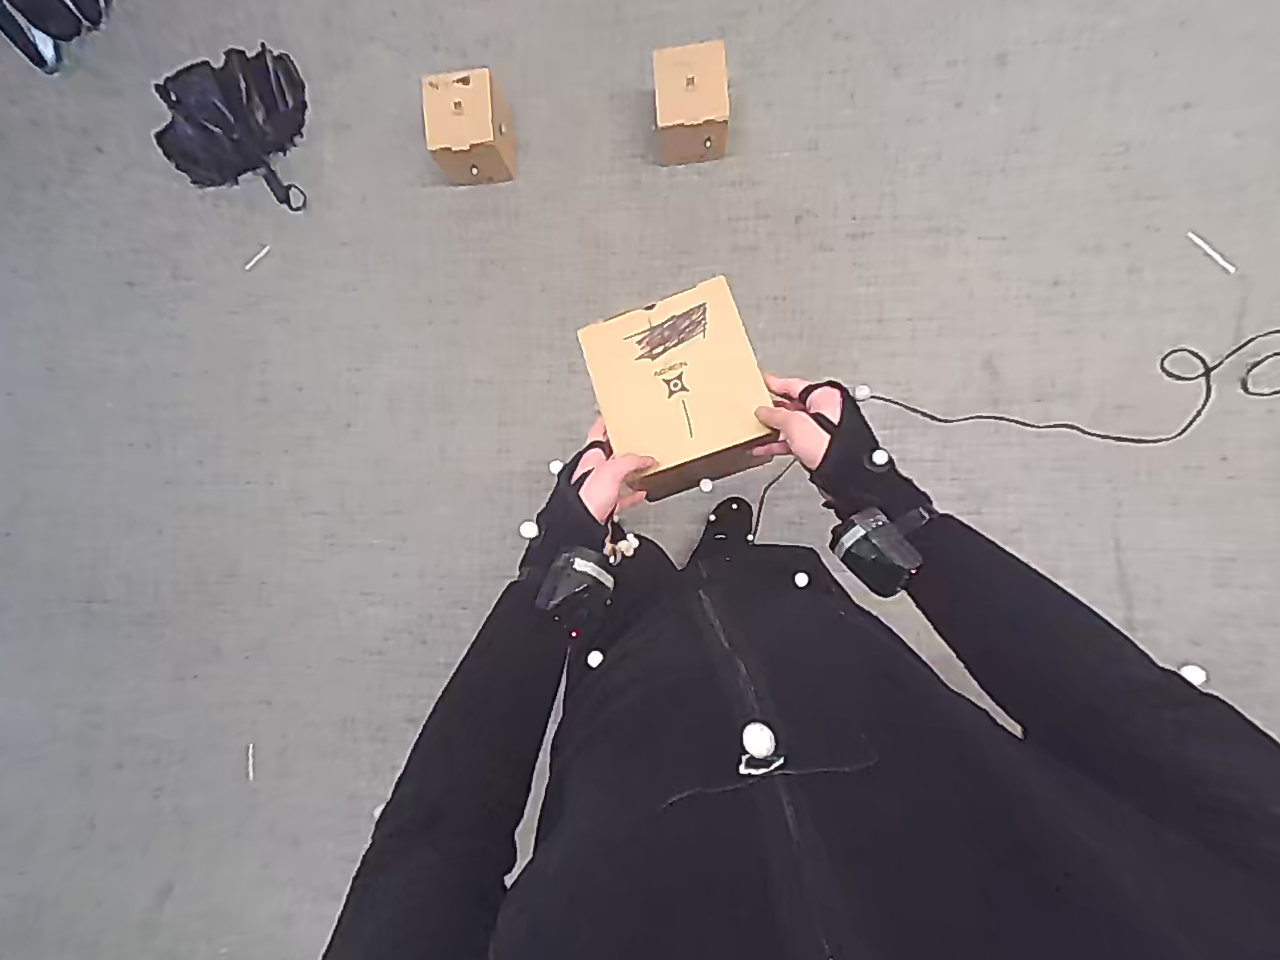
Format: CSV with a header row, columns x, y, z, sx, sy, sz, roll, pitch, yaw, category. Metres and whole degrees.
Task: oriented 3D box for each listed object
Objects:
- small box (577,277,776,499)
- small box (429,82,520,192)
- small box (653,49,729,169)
x,y,z,sx,sy,sz,roll,pitch,yaw,category
0.046,-0.091,0.621,0.168,0.176,0.179,-19,77,8,small box
-0.412,-0.856,1.371,0.168,0.176,0.179,-4,91,6,small box
0.125,-0.883,1.309,0.168,0.176,0.179,-5,89,5,small box
